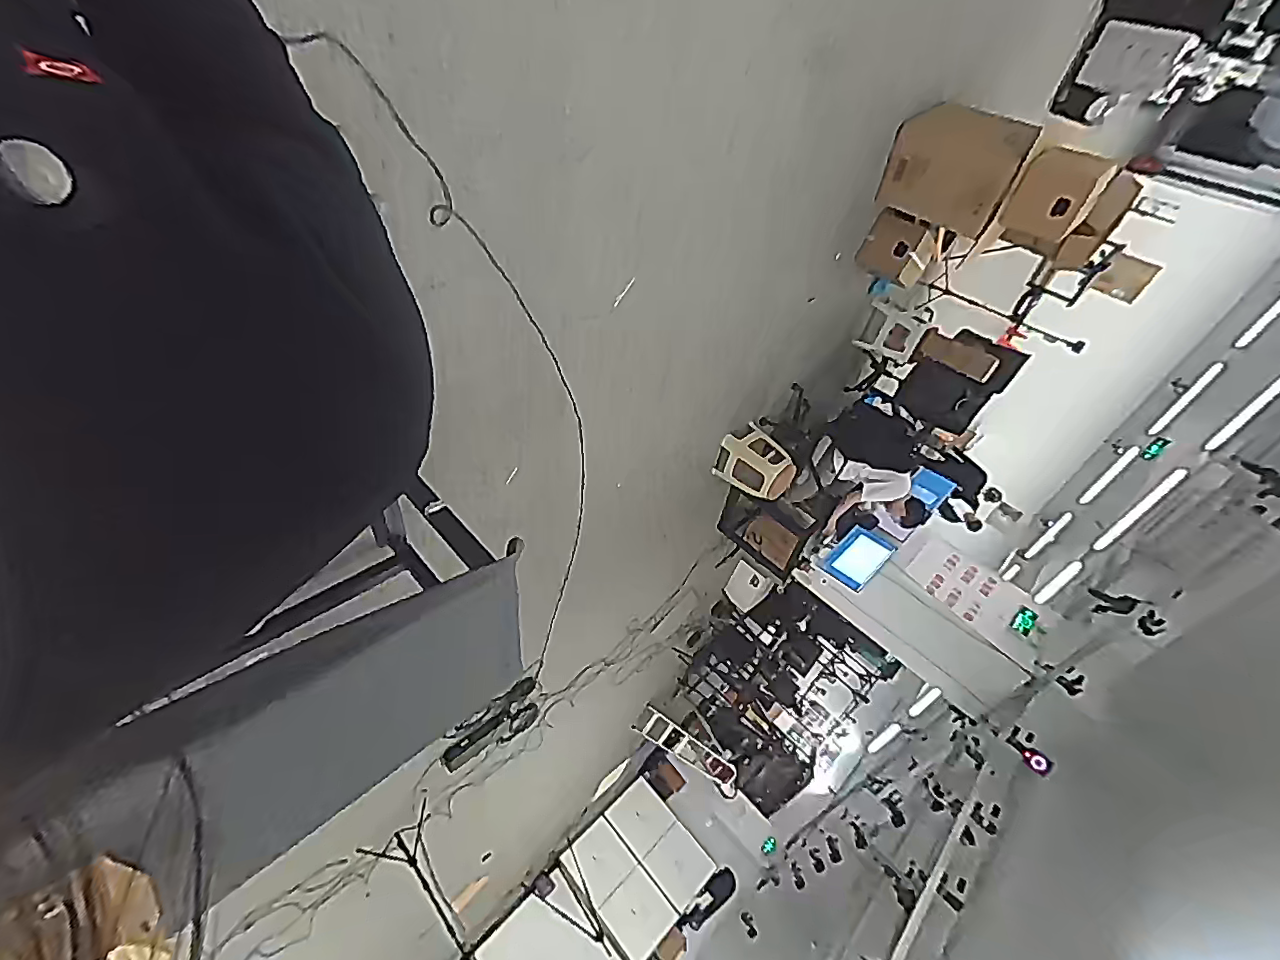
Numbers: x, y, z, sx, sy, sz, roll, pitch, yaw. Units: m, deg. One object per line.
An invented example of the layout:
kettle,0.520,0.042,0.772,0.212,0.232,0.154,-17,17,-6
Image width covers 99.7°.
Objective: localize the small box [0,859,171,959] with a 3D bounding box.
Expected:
small box,-0.931,0.772,0.891,0.168,0.176,0.179,-32,147,-36
